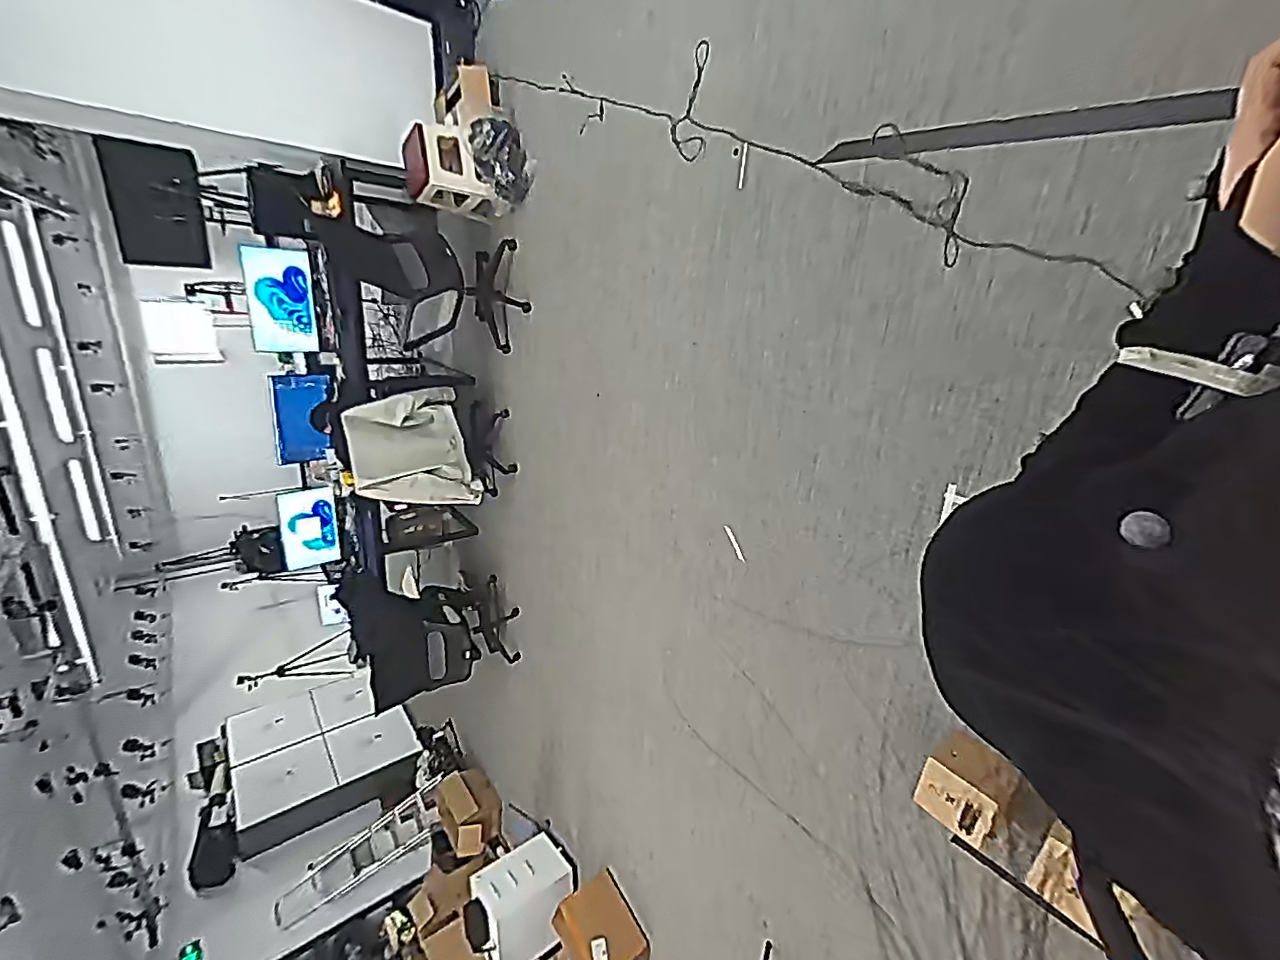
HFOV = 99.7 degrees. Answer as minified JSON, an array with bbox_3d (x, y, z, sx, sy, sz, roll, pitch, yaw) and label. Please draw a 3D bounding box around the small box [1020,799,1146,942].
[{"bbox_3d":[1.037,0.902,1.264,0.168,0.176,0.179,29,120,44],"label":"small box"}]
